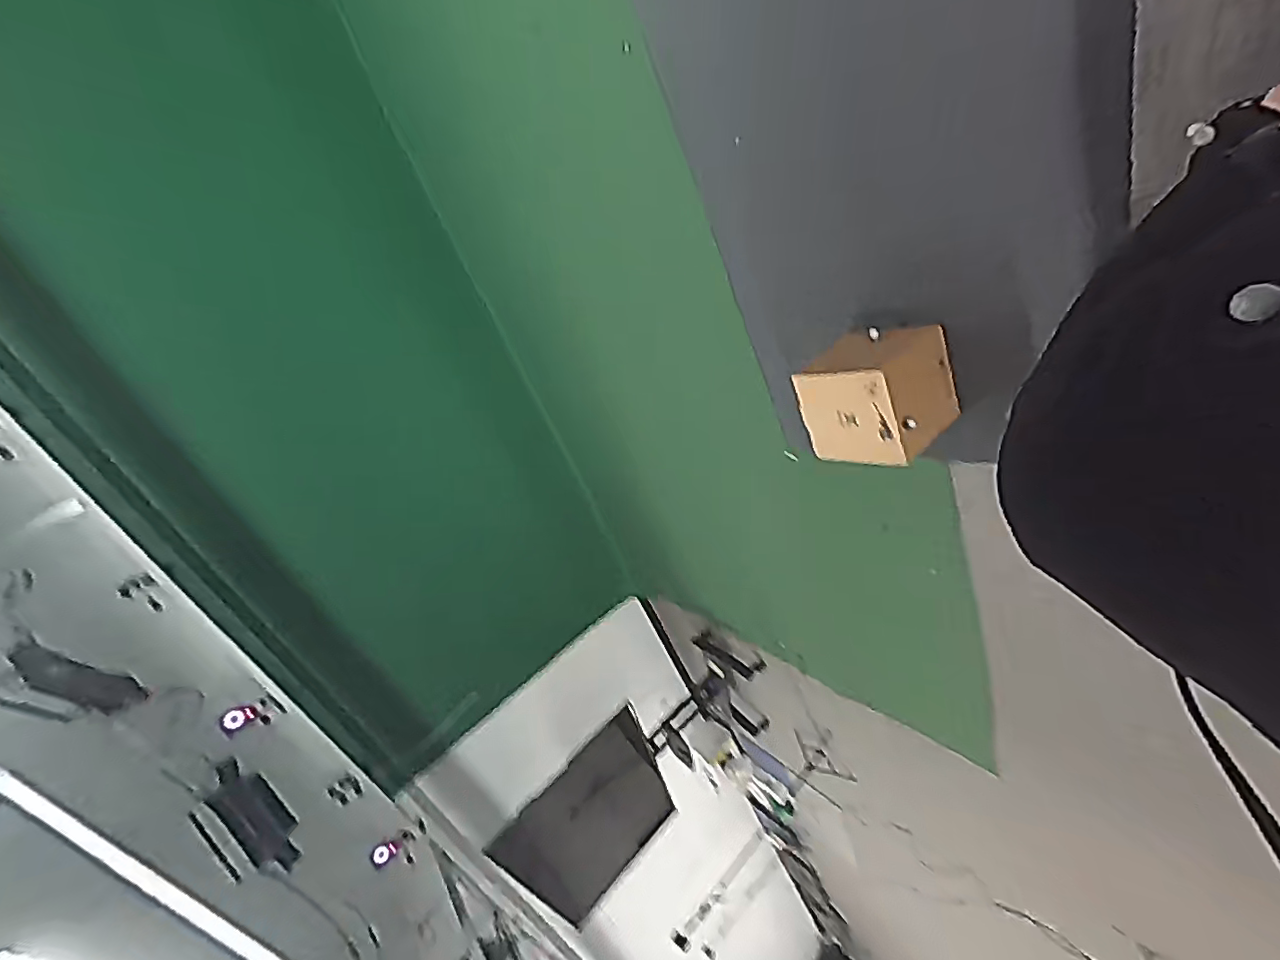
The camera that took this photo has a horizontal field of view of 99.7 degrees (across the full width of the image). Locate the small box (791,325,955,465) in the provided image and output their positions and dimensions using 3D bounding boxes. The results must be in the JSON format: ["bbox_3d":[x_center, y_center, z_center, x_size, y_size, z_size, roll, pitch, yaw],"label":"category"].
[{"bbox_3d":[0.396,-0.145,0.920,0.179,0.176,0.168,11,134,57],"label":"small box"}]
